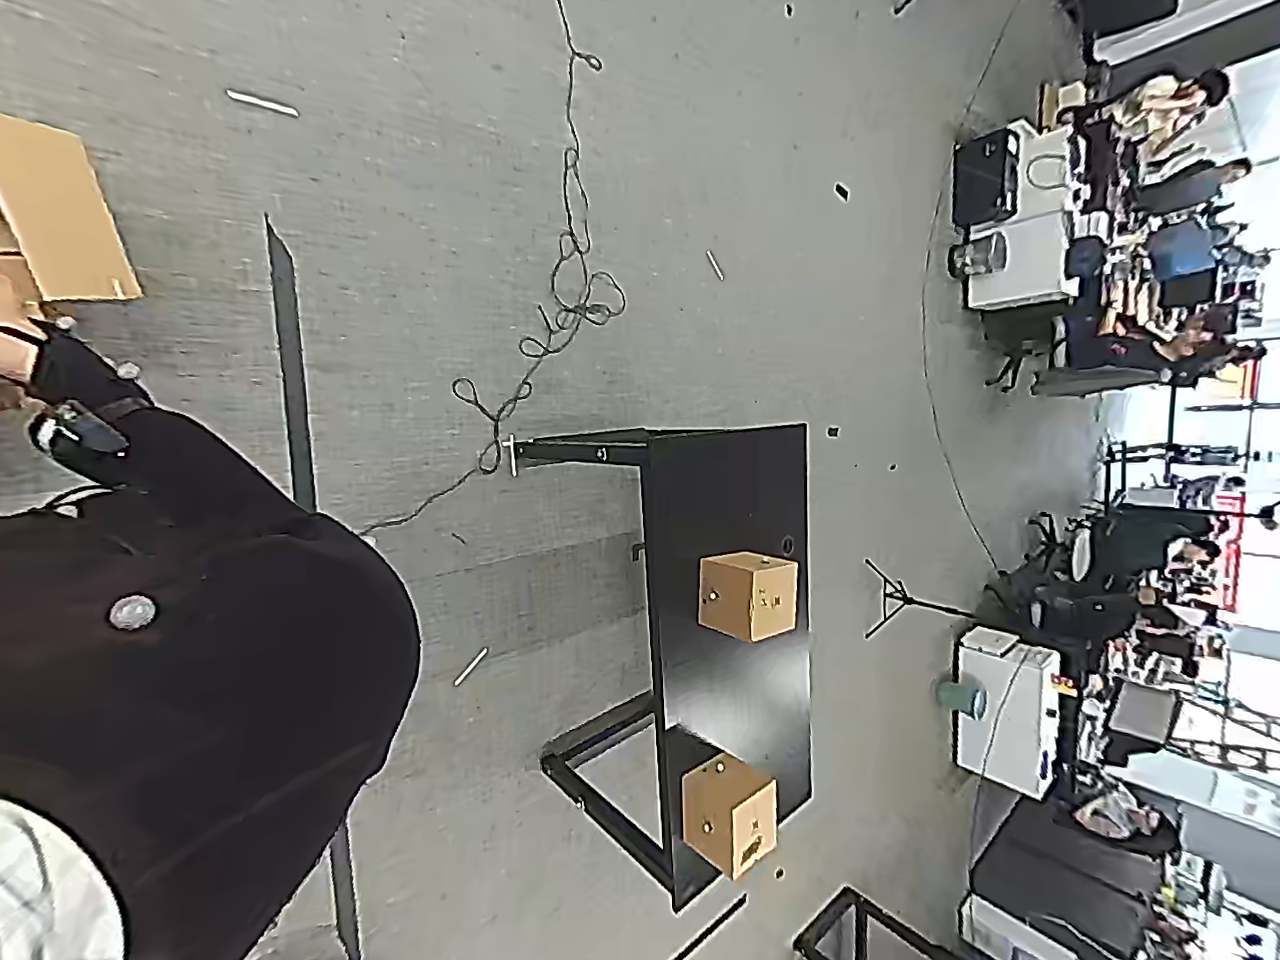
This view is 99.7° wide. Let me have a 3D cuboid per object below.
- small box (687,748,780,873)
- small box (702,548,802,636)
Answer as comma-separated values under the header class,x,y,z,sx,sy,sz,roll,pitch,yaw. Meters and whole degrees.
class,x,y,z,sx,sy,sz,roll,pitch,yaw
small box,0.230,0.809,1.346,0.168,0.176,0.179,-6,96,-39
small box,0.275,0.268,1.336,0.179,0.176,0.168,-1,95,-39
